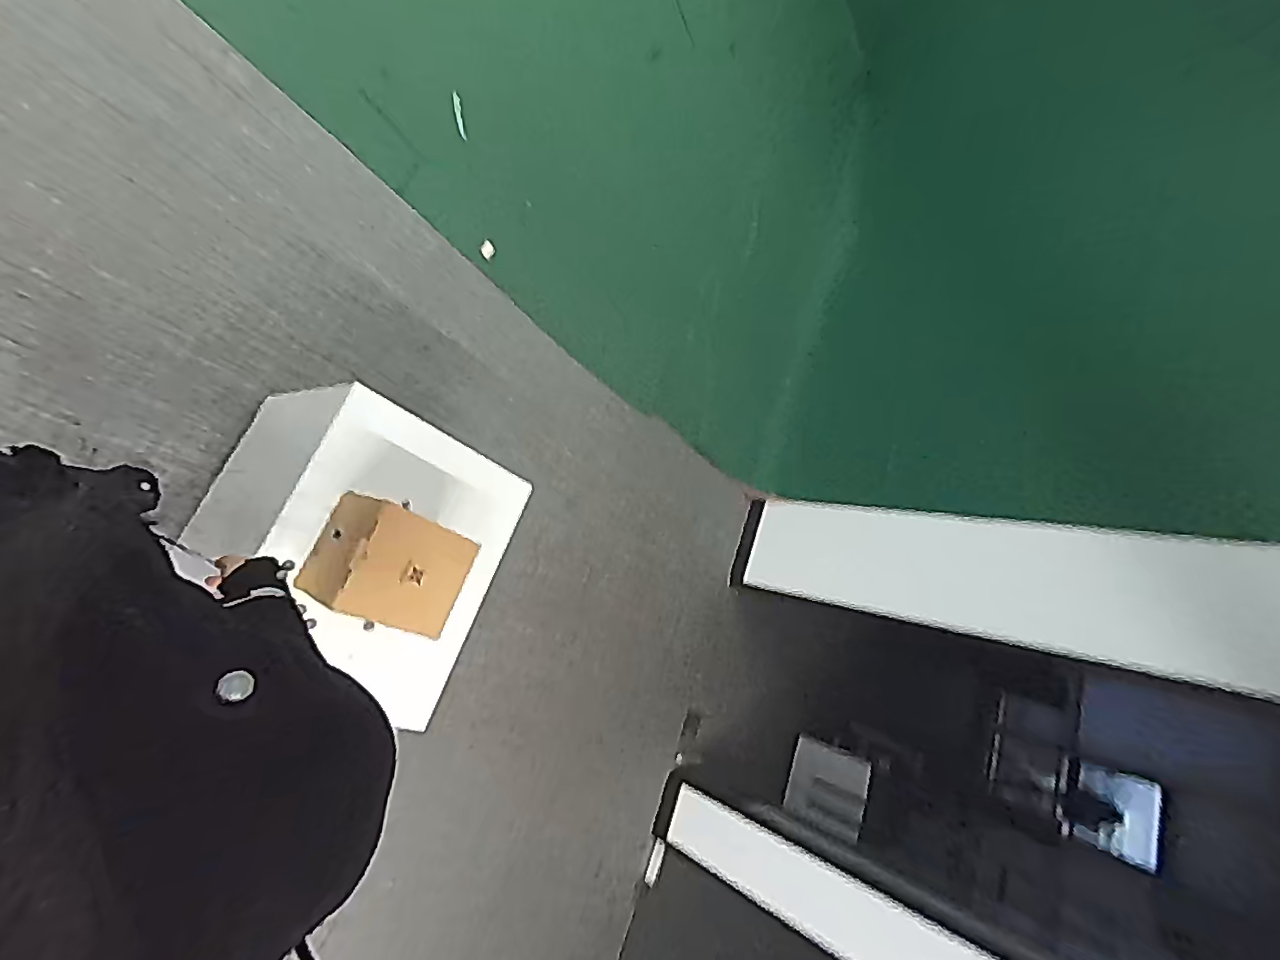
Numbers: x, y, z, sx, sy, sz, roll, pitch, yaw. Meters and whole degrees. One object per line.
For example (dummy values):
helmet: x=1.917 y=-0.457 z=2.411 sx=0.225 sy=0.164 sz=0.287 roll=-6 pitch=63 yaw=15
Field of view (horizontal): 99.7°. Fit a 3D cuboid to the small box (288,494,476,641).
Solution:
small box: x=-0.401 y=0.131 z=0.845 sx=0.179 sy=0.176 sz=0.168 roll=38 pitch=66 yaw=-44
